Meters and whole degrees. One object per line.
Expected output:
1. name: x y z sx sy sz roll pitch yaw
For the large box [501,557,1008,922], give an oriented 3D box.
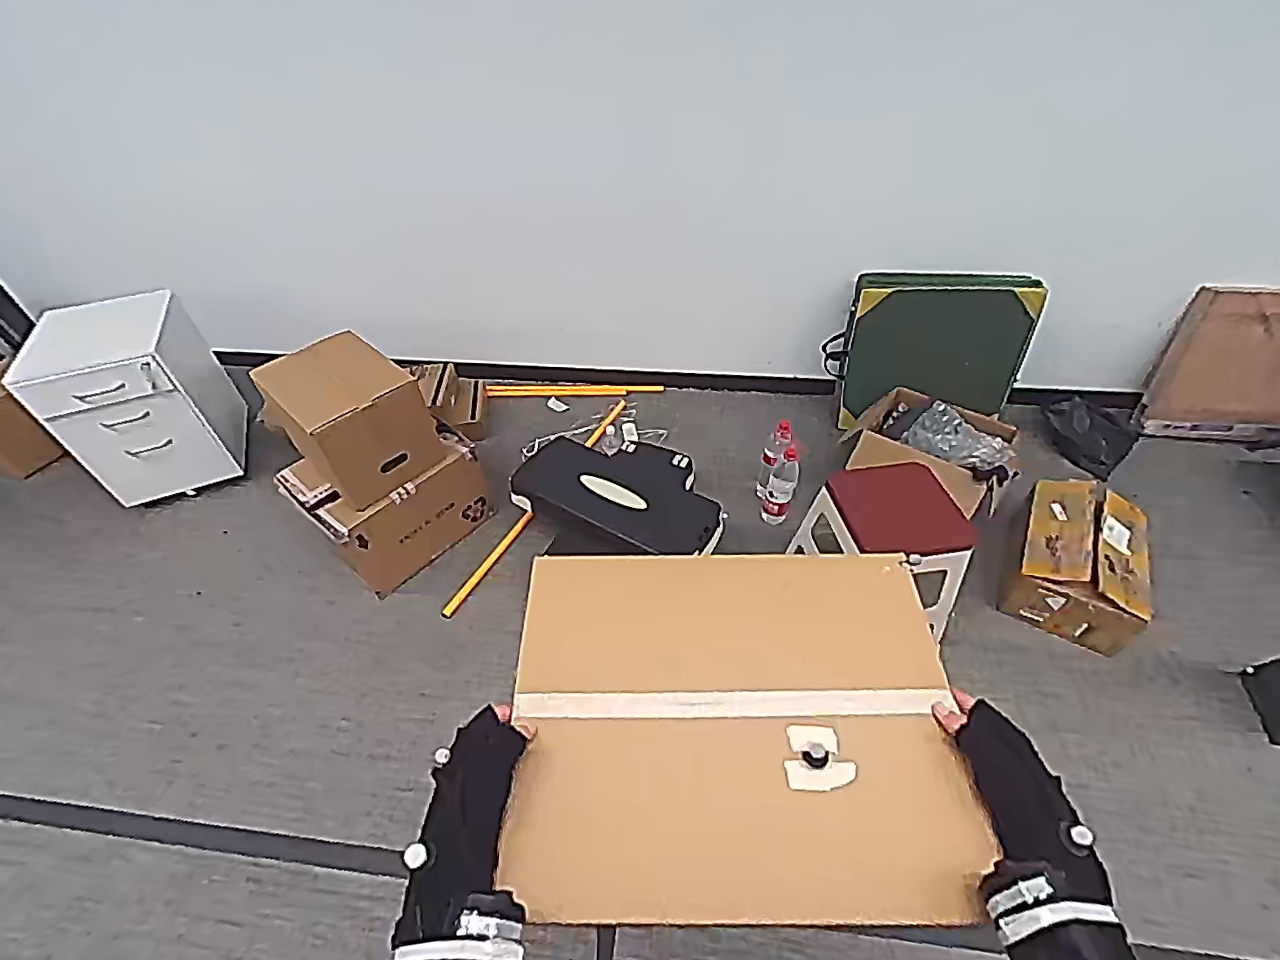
1. large box: 0.087 0.302 0.624 0.408 0.320 0.320 -1 53 1
